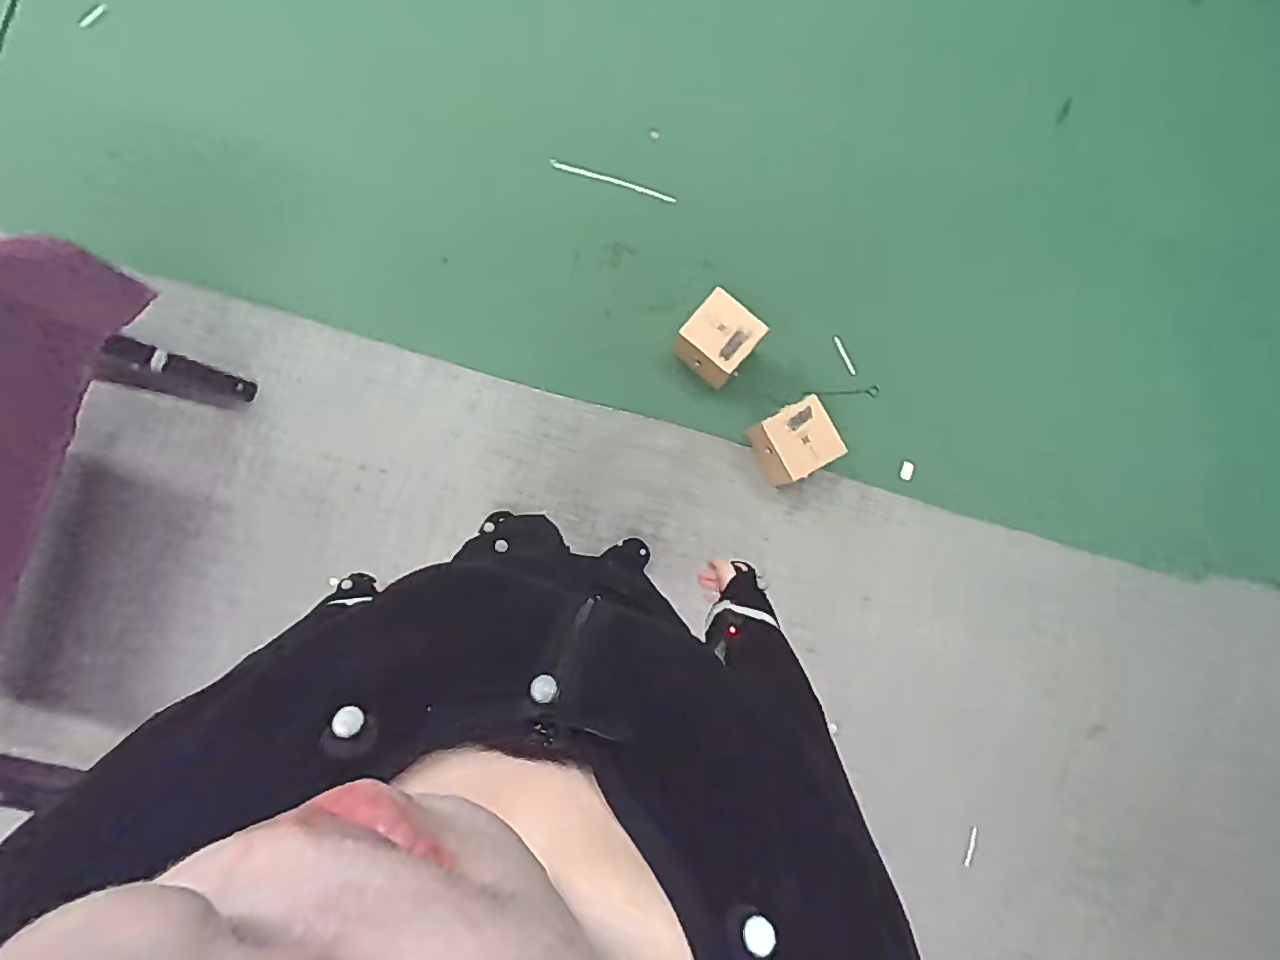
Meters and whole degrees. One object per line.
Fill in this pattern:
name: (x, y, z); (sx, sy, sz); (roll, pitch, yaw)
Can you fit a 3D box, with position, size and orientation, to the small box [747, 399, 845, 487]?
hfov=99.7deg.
small box: (0.412, -0.093, 1.463); (0.168, 0.176, 0.179); (-28, 88, -4)
